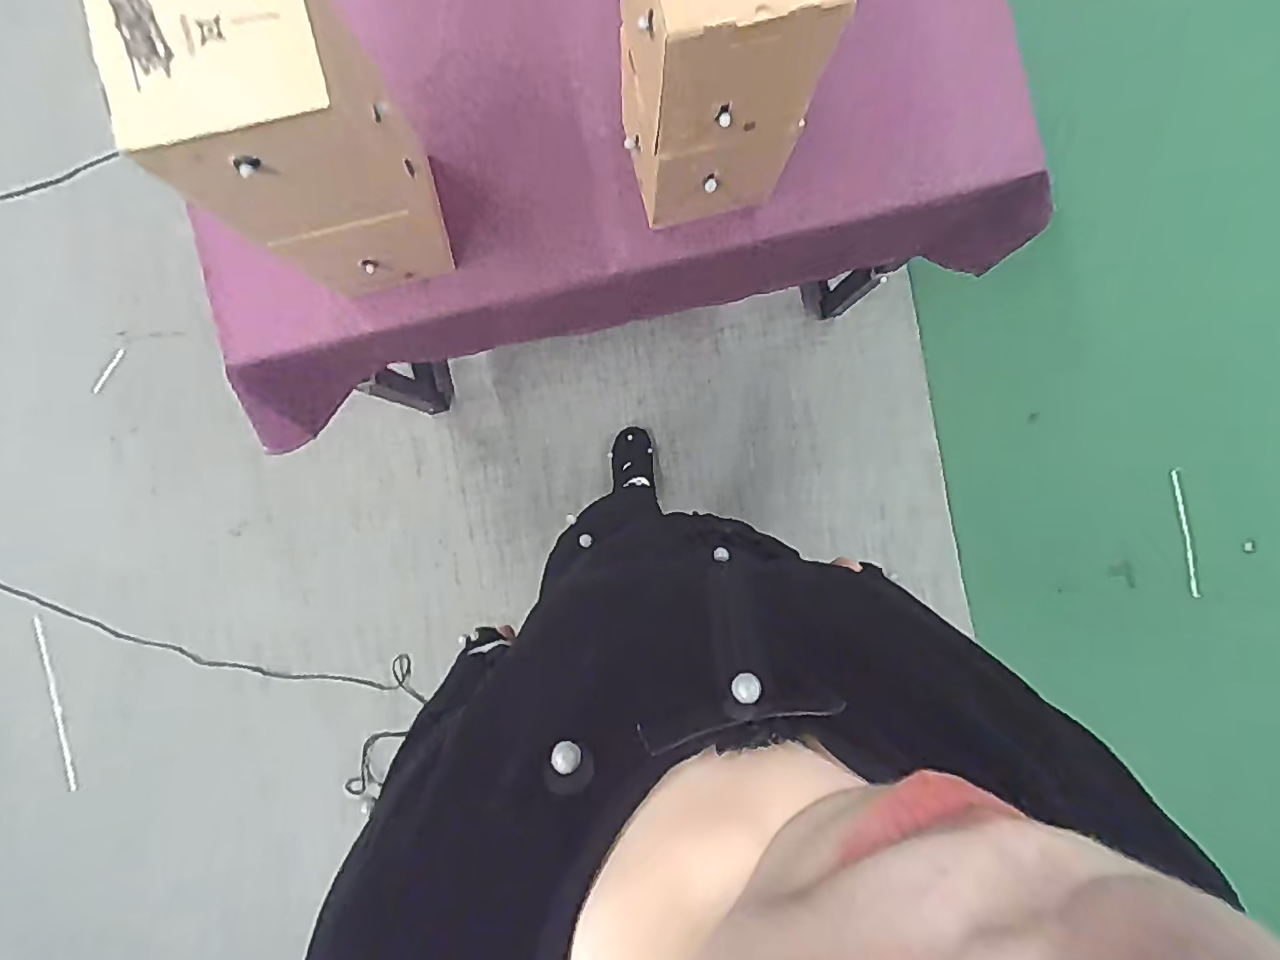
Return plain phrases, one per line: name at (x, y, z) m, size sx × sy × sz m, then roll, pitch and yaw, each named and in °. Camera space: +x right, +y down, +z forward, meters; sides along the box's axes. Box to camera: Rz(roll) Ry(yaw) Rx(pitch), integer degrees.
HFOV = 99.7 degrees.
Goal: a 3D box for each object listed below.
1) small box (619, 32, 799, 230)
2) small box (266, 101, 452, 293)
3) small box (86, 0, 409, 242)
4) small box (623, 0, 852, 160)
small box at (0.080, -0.450, 0.693) m, size 0.179 × 0.176 × 0.168 m, roll -15°, pitch 90°, yaw 0°
small box at (-0.357, -0.354, 0.684) m, size 0.168 × 0.176 × 0.179 m, roll -14°, pitch 89°, yaw -2°
small box at (-0.354, -0.355, 0.520) m, size 0.179 × 0.176 × 0.168 m, roll -14°, pitch 90°, yaw -2°
small box at (0.078, -0.459, 0.530) m, size 0.168 × 0.176 × 0.179 m, roll -13°, pitch 90°, yaw -1°
